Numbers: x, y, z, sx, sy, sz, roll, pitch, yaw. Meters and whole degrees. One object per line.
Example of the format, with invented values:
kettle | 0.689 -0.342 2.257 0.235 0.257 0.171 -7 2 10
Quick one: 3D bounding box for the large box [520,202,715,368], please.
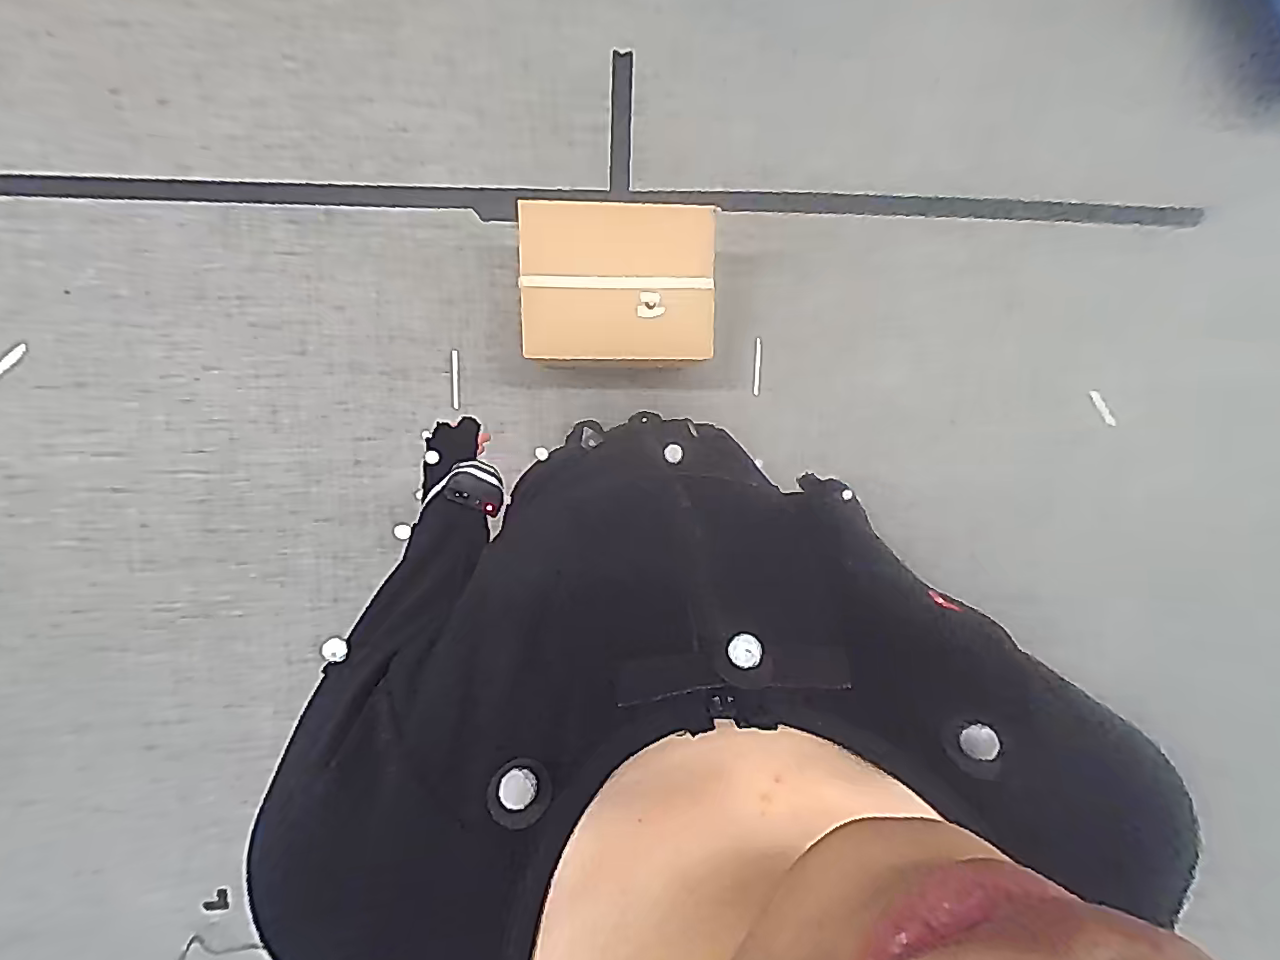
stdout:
large box | -0.056 -0.432 1.269 0.408 0.320 0.320 -1 99 -5
